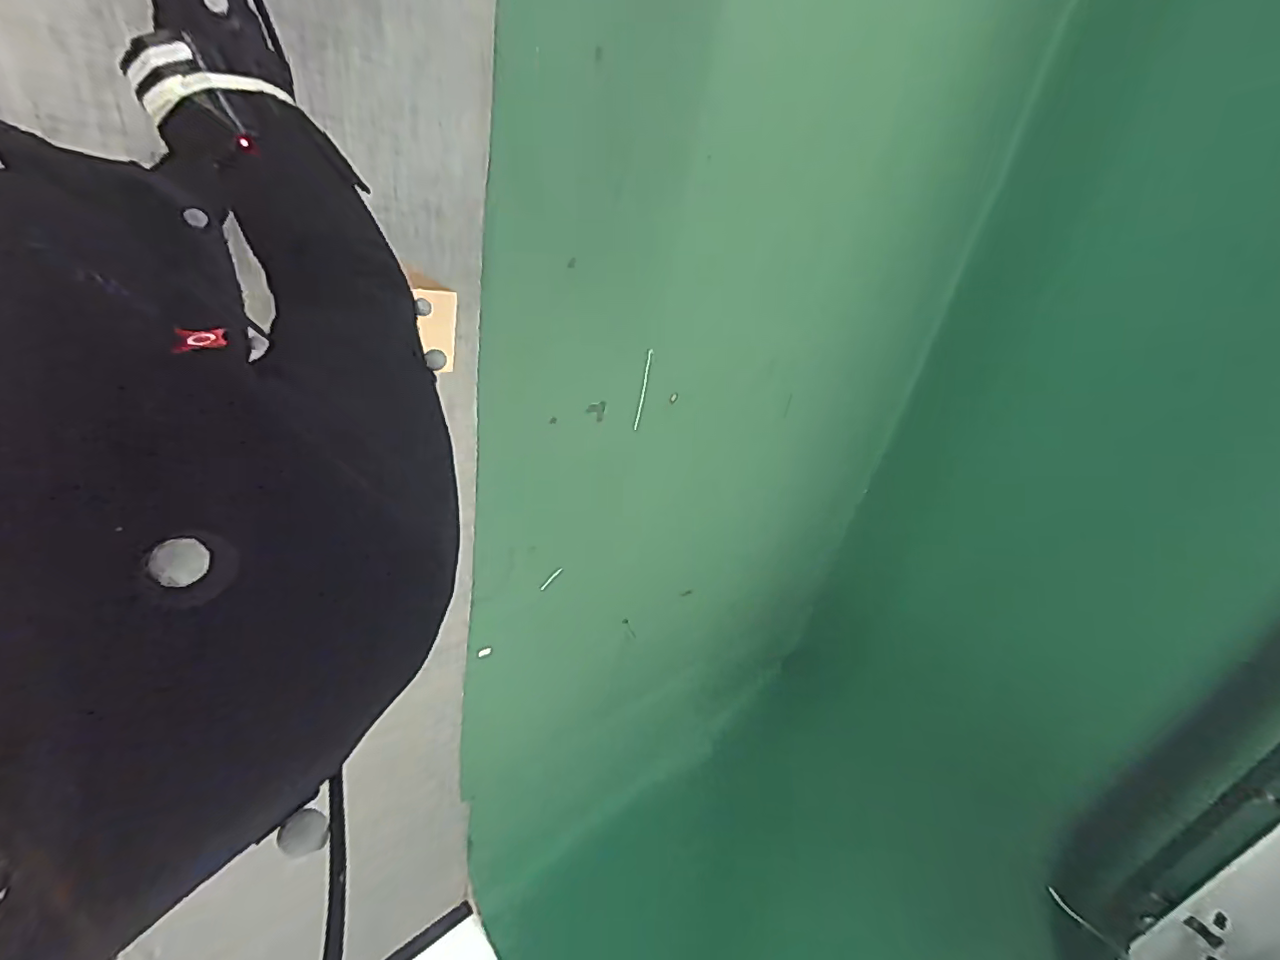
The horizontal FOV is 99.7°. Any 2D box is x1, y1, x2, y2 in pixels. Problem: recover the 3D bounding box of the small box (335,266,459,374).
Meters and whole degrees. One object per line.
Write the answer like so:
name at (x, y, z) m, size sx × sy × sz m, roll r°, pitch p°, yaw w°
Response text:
small box at (-0.484, -0.319, 1.077) m, size 0.179 × 0.176 × 0.168 m, roll -12°, pitch 126°, yaw -41°
